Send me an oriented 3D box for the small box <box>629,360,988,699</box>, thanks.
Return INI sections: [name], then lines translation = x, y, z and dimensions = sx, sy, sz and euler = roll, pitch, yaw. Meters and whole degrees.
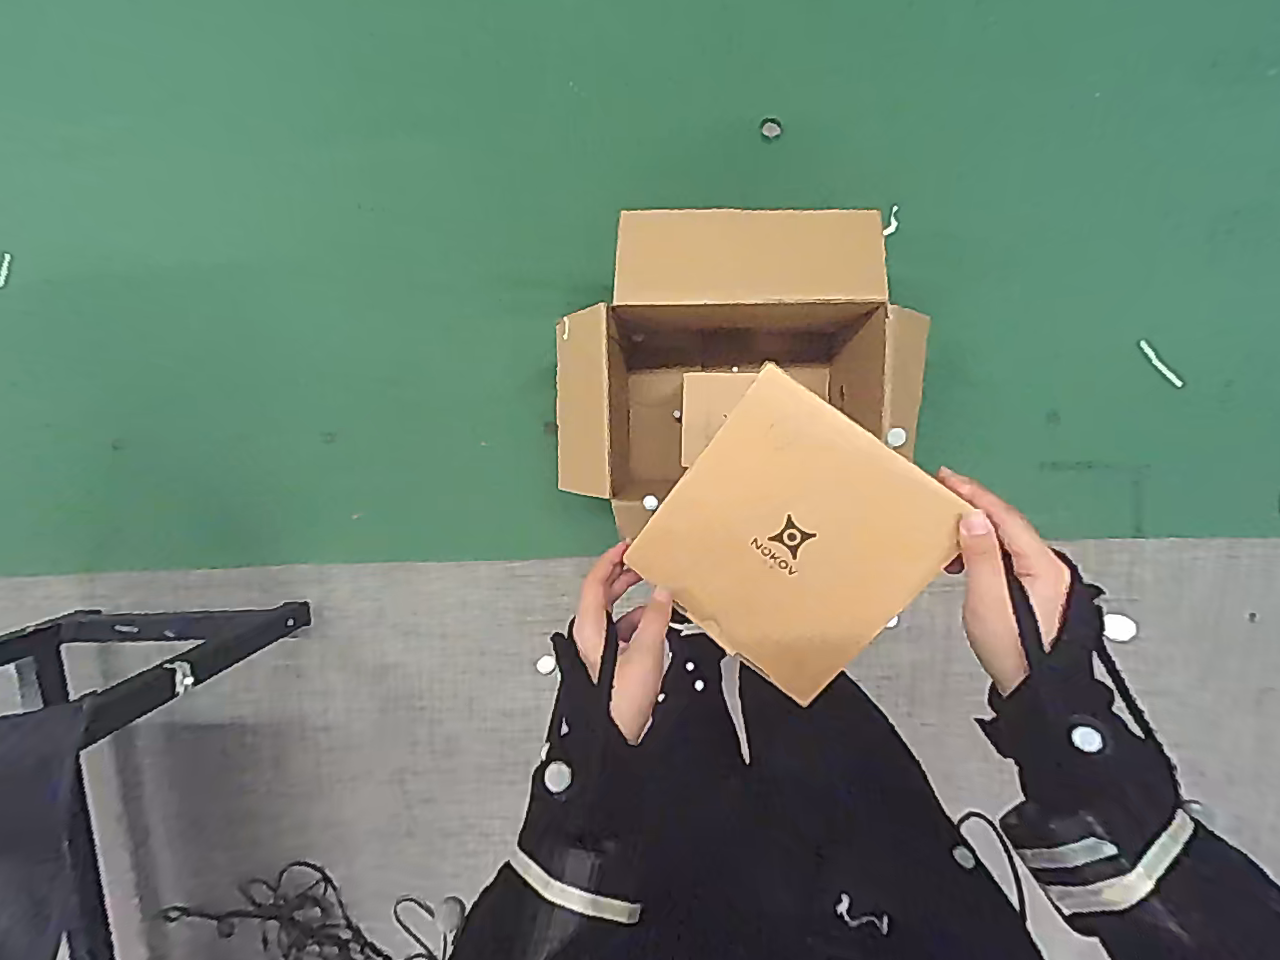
[small box]
translation = 0.121, 0.024, 0.434
dimensions = 0.168, 0.176, 0.179
euler = 38, 107, 7
